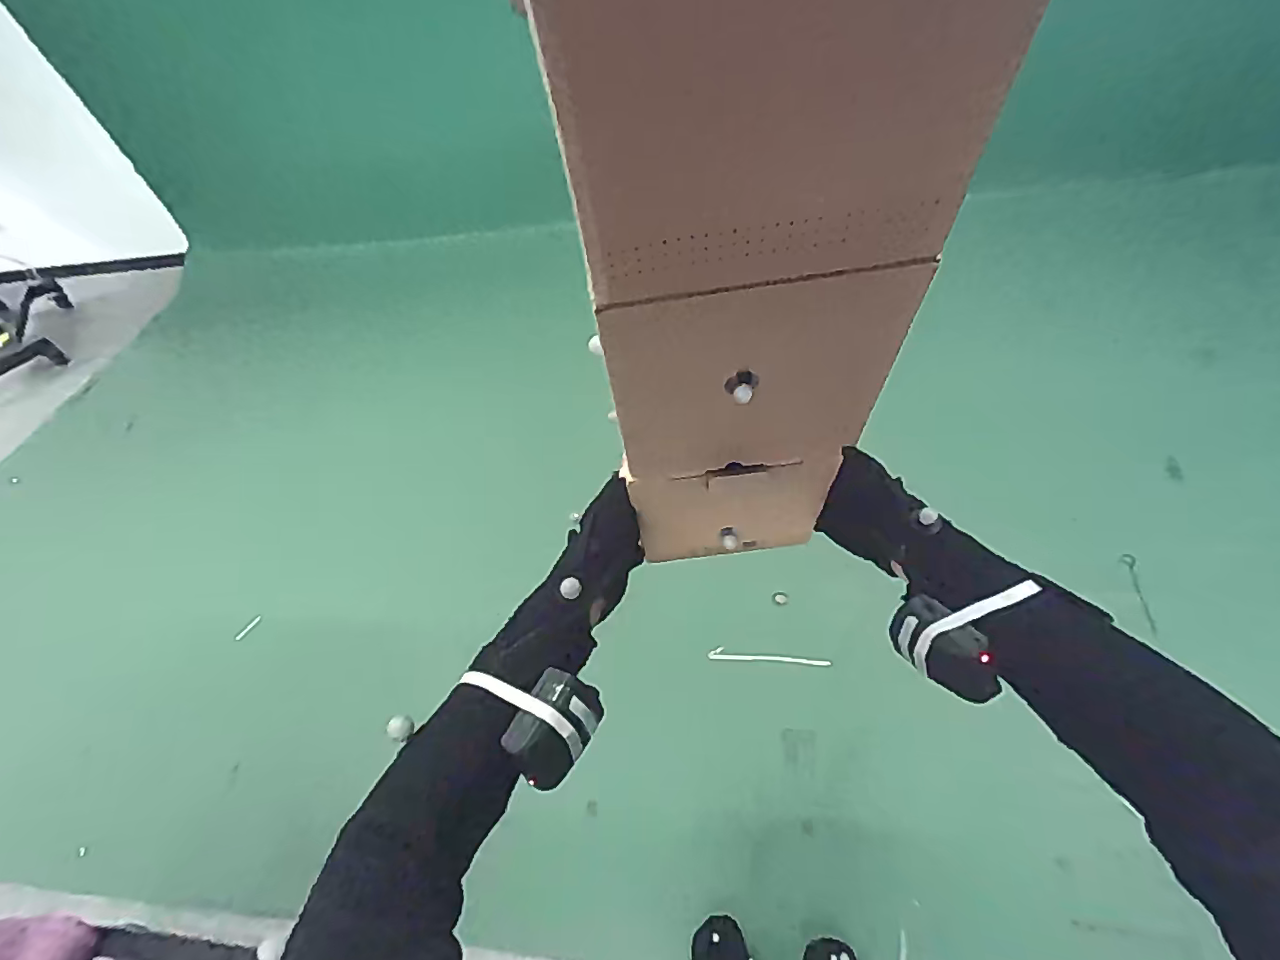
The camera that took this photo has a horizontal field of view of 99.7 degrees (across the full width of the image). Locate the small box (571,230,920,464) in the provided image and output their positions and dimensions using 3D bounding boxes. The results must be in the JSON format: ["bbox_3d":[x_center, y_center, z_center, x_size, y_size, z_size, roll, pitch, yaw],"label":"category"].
[{"bbox_3d":[0.055,-0.126,0.375,0.179,0.176,0.168,-5,58,3],"label":"small box"}]

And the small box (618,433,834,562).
[{"bbox_3d":[0.066,-0.040,0.518,0.168,0.176,0.179,-8,60,3],"label":"small box"}]
